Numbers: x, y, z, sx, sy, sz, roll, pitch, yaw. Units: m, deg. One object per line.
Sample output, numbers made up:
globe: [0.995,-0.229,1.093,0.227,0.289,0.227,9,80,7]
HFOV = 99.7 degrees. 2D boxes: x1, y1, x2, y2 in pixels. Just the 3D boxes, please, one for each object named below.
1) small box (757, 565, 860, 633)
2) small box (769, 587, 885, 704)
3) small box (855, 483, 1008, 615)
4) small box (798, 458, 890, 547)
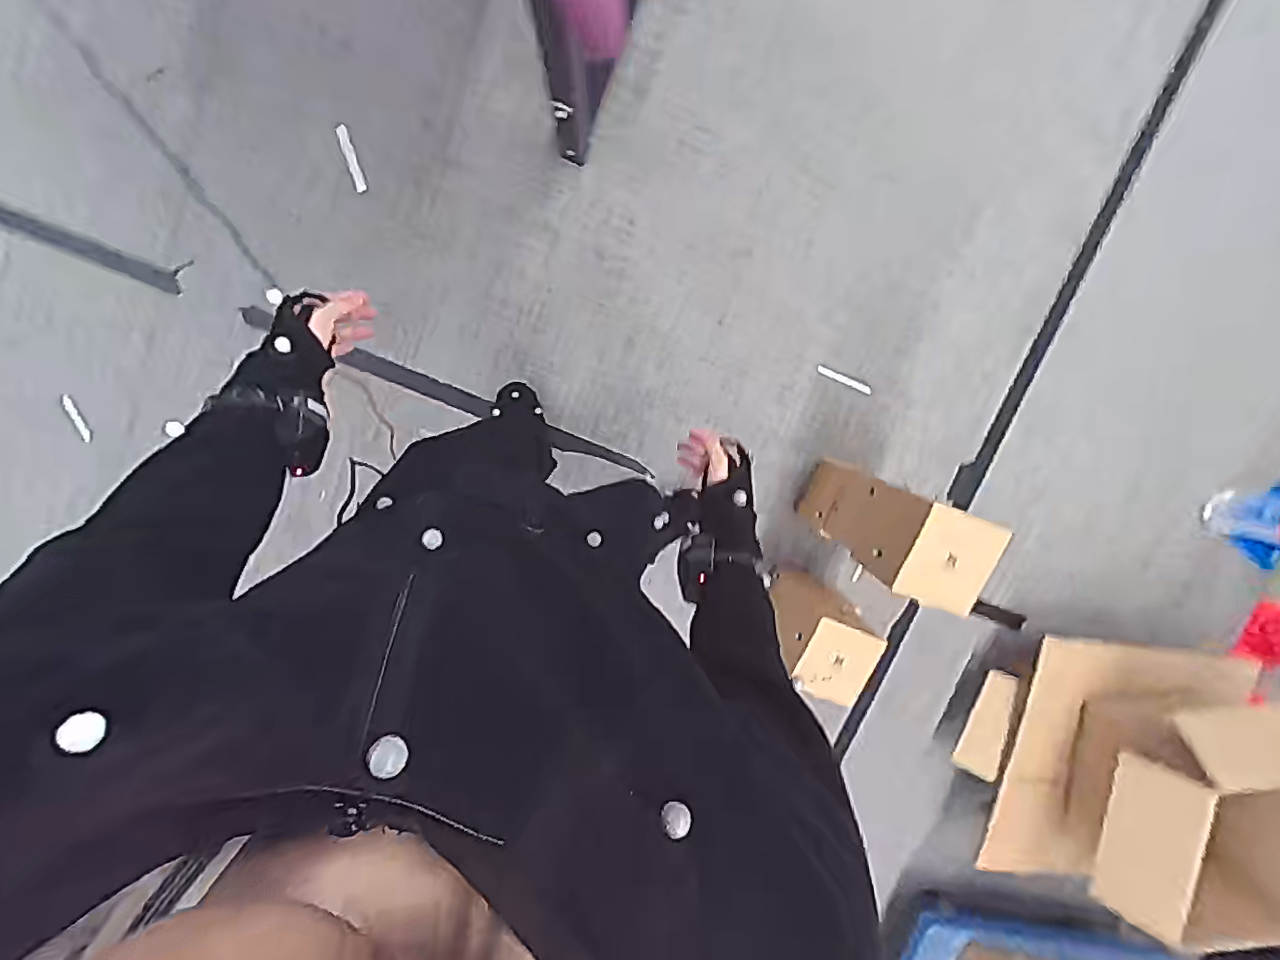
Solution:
small box: [0.432,0.342,1.422,0.179,0.176,0.168,21,101,-8]
small box: [0.423,0.376,1.260,0.168,0.176,0.179,23,101,-8]
small box: [0.546,0.126,1.046,0.168,0.176,0.179,20,100,-10]
small box: [0.526,0.058,1.365,0.168,0.176,0.179,22,101,-8]
